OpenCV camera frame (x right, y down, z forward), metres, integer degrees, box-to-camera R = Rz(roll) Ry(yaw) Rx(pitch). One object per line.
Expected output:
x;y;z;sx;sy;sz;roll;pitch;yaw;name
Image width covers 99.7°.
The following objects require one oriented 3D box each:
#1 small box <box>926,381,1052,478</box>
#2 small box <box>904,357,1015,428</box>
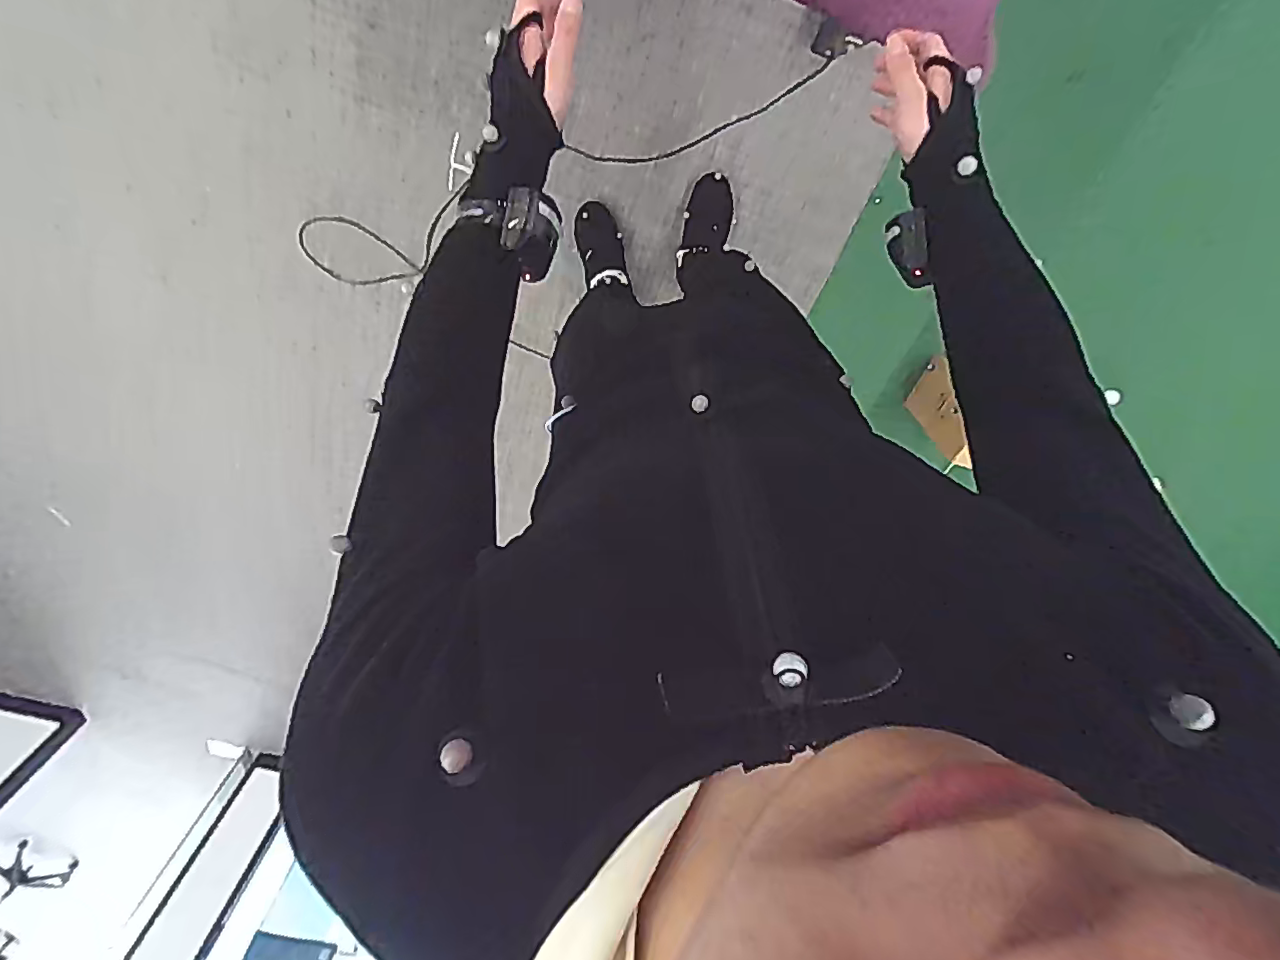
0.877;-0.134;1.378;0.179;0.176;0.168;15;124;-6;small box
0.879;-0.228;1.511;0.179;0.176;0.168;16;123;-7;small box
